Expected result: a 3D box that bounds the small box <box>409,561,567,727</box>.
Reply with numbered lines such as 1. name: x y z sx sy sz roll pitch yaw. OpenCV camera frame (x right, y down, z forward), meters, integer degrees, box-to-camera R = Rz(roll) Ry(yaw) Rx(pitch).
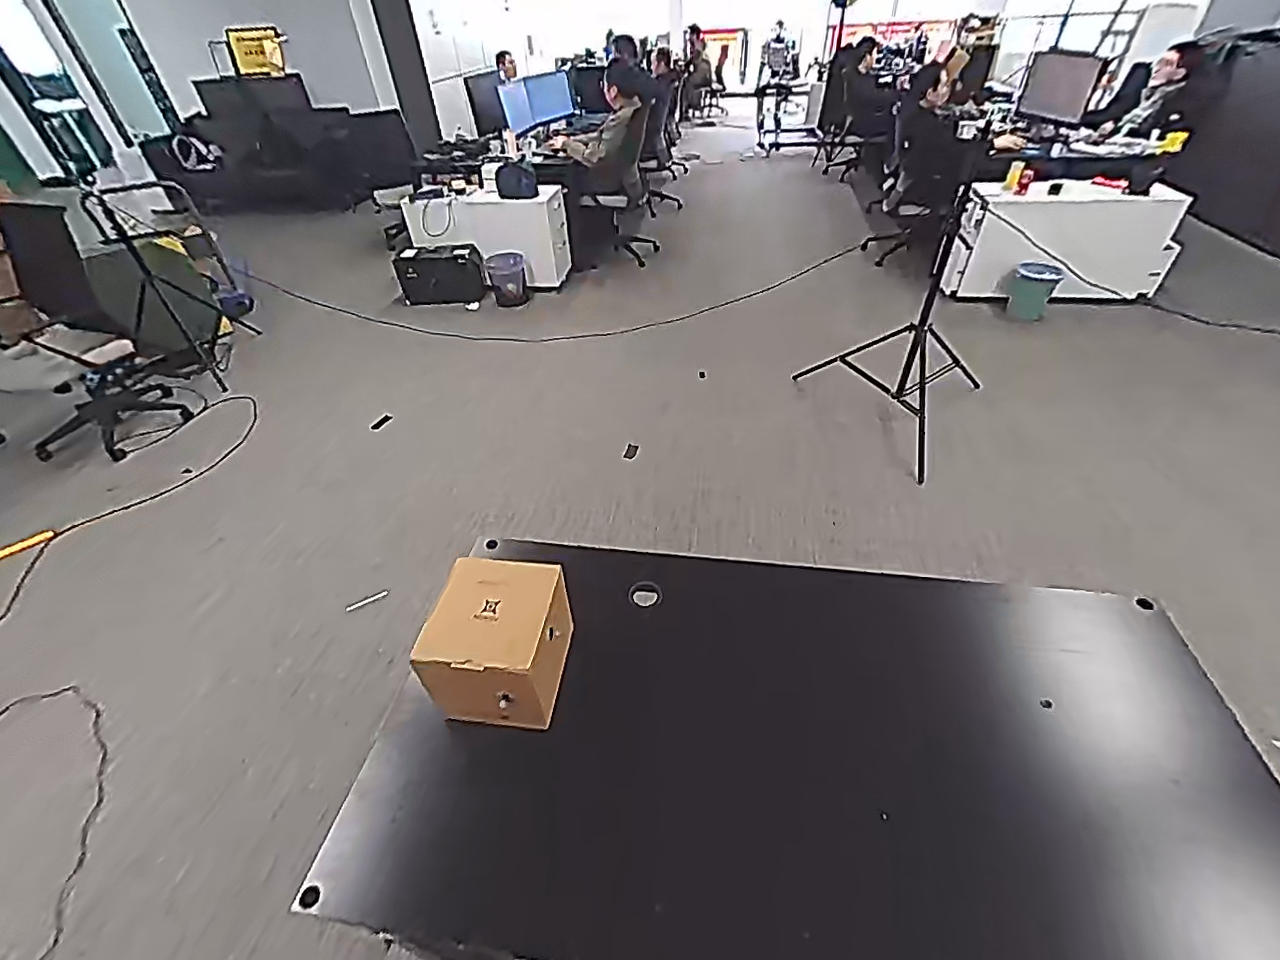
1. small box: -0.211 0.247 0.812 0.168 0.176 0.179 4 41 6
